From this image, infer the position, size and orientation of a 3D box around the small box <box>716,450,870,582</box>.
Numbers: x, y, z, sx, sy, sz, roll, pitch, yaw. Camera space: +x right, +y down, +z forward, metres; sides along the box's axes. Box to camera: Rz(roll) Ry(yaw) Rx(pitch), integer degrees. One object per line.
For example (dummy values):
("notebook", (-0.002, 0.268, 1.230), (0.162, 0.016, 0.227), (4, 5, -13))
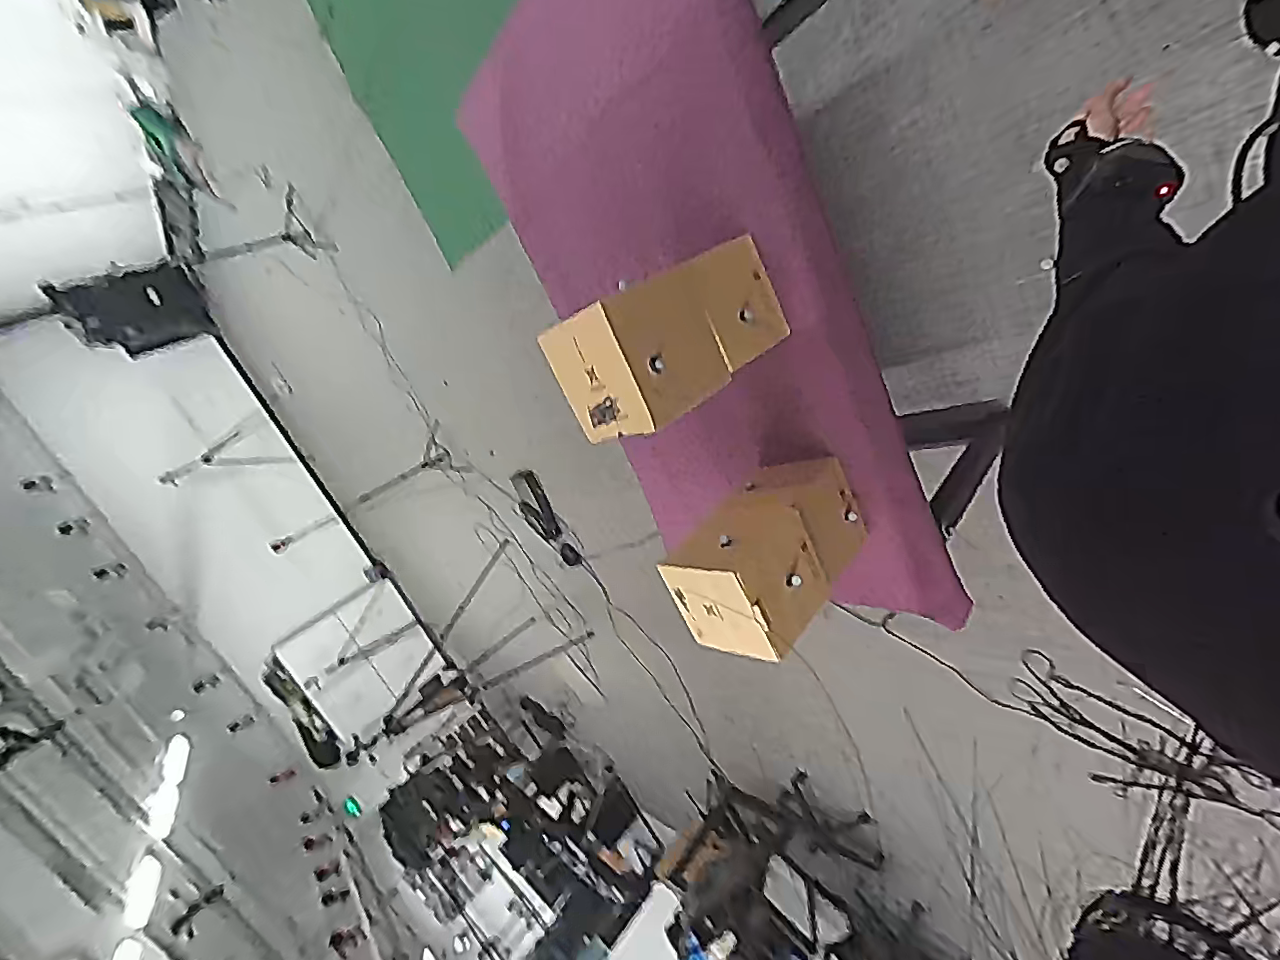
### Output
("small box", (0.275, 0.062, 0.966), (0.179, 0.176, 0.168), (-10, 113, 52))

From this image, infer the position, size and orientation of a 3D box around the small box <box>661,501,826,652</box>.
("small box", (0.173, 0.144, 0.866), (0.179, 0.176, 0.168), (-7, 115, 52))

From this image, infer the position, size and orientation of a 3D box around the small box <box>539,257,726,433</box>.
("small box", (-0.005, -0.187, 0.772), (0.168, 0.176, 0.179), (-4, 117, 53))

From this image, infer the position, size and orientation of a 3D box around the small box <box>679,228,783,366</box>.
("small box", (0.103, -0.272, 0.863), (0.179, 0.176, 0.168), (-9, 114, 54))
